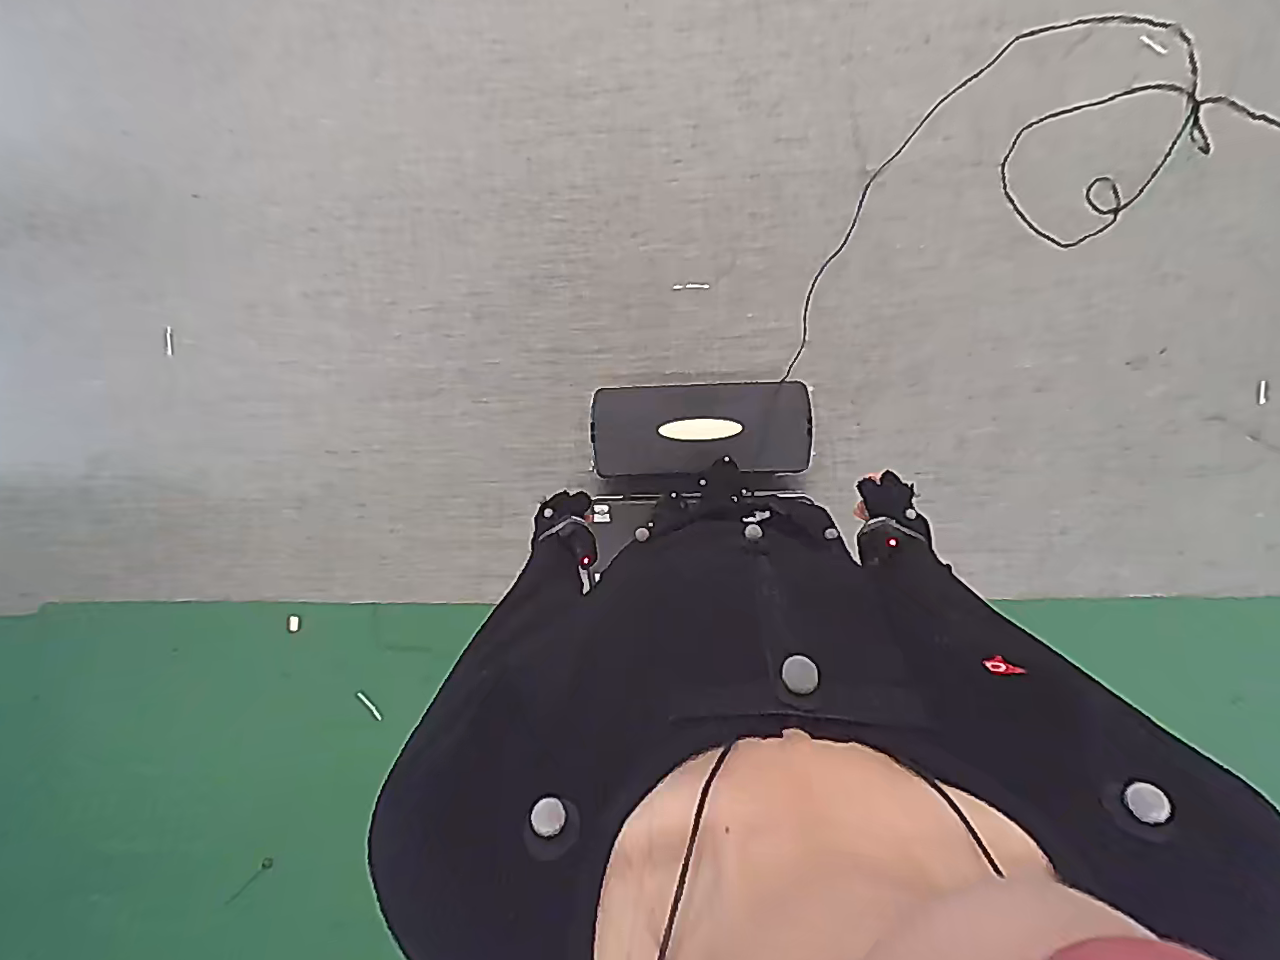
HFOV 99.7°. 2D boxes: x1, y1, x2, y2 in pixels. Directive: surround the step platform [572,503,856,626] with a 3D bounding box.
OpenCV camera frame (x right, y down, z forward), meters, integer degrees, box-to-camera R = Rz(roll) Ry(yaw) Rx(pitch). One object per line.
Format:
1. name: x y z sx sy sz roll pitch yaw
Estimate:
1. step platform: 0.177 0.209 1.391 0.684 0.204 0.286 -1 89 2
